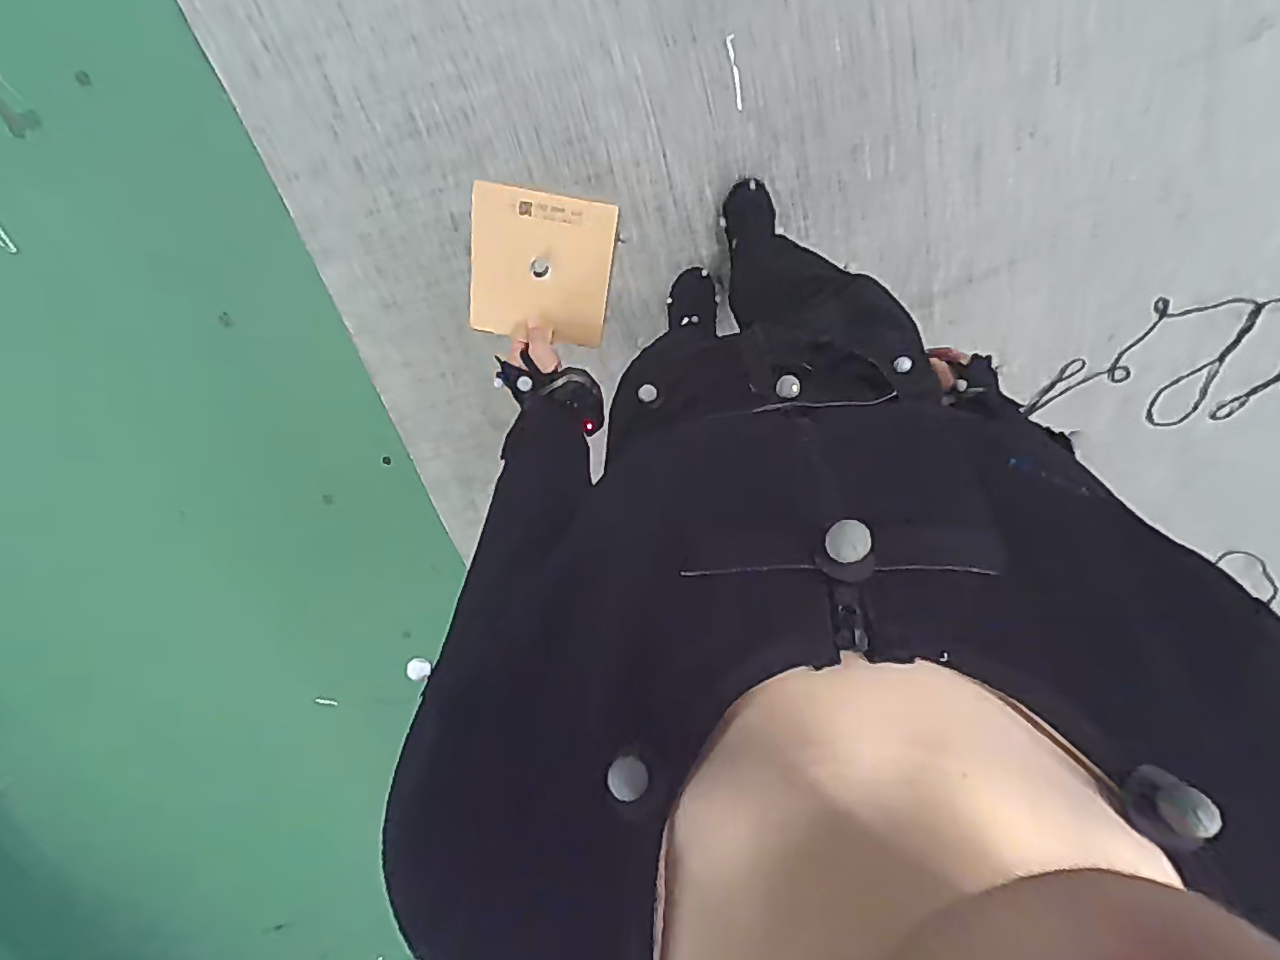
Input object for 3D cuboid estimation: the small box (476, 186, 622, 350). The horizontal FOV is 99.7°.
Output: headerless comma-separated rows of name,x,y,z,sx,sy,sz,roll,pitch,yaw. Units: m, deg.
small box,-0.116,-0.285,0.715,0.168,0.179,0.176,7,120,-4
